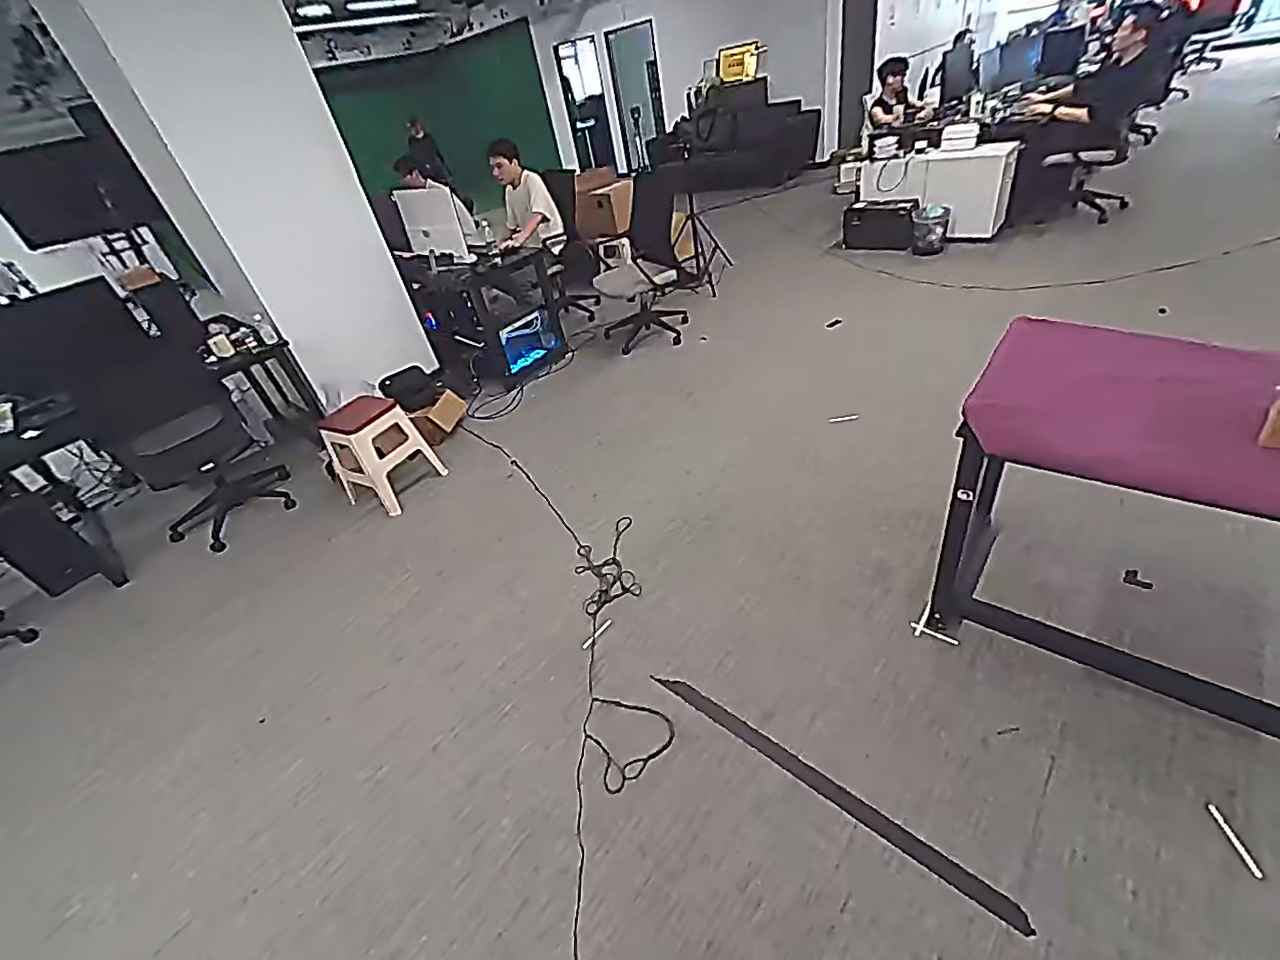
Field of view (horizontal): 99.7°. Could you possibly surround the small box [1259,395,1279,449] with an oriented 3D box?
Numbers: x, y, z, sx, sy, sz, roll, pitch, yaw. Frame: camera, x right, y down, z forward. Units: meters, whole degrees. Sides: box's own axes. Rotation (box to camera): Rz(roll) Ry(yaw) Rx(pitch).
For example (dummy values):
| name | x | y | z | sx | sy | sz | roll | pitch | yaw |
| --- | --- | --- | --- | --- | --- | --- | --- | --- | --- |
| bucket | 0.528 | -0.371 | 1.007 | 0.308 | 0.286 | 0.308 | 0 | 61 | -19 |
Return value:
| name | x | y | z | sx | sy | sz | roll | pitch | yaw |
| --- | --- | --- | --- | --- | --- | --- | --- | --- | --- |
| small box | 1.320 | -0.142 | 1.004 | 0.168 | 0.176 | 0.179 | -35 | 42 | -27 |
